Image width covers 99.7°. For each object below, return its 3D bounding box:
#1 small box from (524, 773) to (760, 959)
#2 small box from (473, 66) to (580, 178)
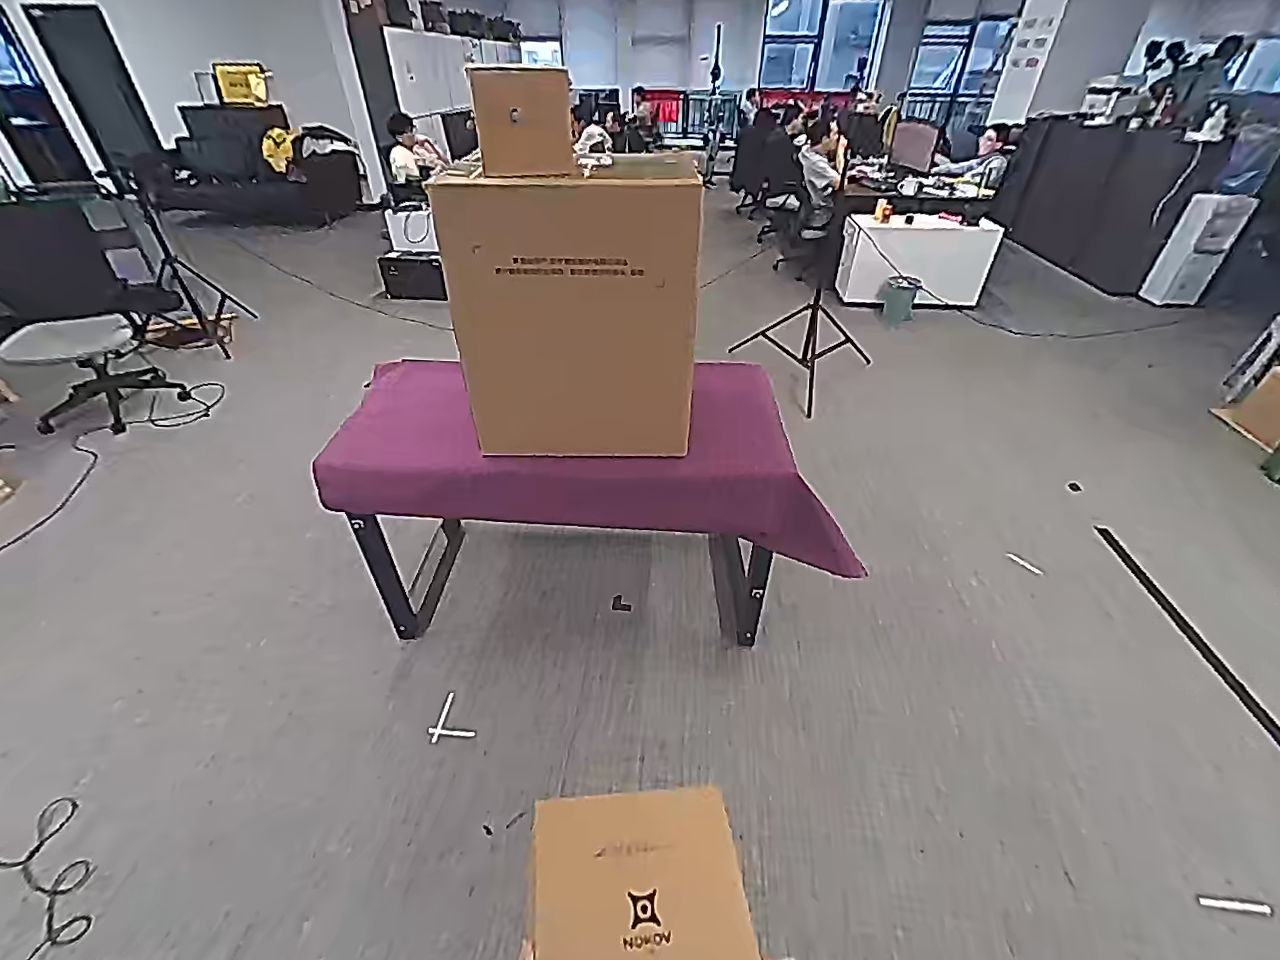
[{"bbox_3d":[-0.011,0.377,0.453,0.168,0.176,0.179,2,38,-12],"label":"small box"},{"bbox_3d":[-0.220,-0.697,1.053,0.179,0.176,0.168,-9,40,-11],"label":"small box"}]
